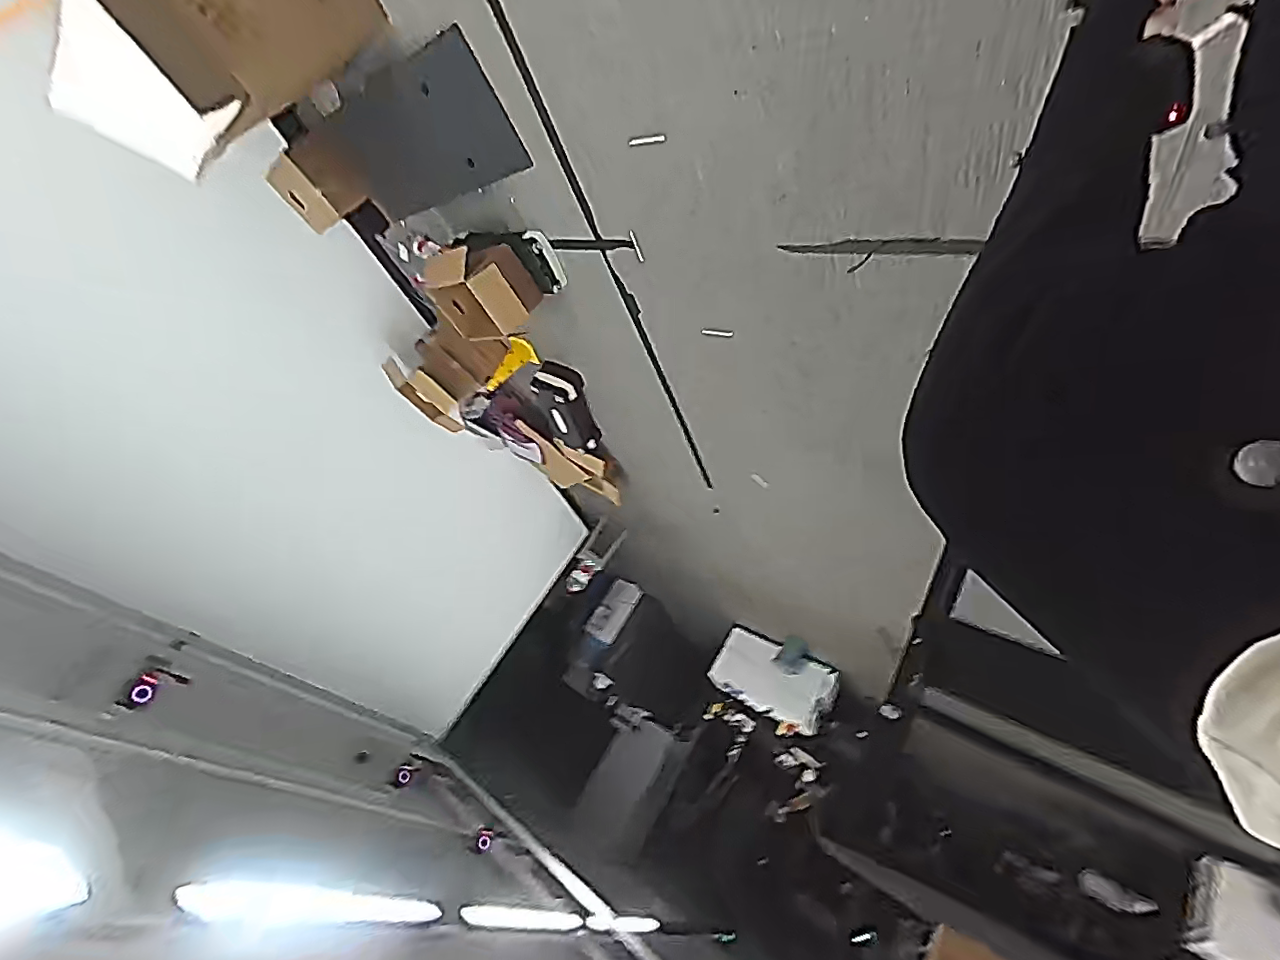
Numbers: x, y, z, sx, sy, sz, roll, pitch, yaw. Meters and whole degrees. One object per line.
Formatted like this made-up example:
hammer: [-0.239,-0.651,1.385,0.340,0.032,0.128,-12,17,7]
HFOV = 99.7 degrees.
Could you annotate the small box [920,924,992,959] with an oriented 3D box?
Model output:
small box: [0.926,1.442,1.578,0.179,0.176,0.168,20,154,34]
